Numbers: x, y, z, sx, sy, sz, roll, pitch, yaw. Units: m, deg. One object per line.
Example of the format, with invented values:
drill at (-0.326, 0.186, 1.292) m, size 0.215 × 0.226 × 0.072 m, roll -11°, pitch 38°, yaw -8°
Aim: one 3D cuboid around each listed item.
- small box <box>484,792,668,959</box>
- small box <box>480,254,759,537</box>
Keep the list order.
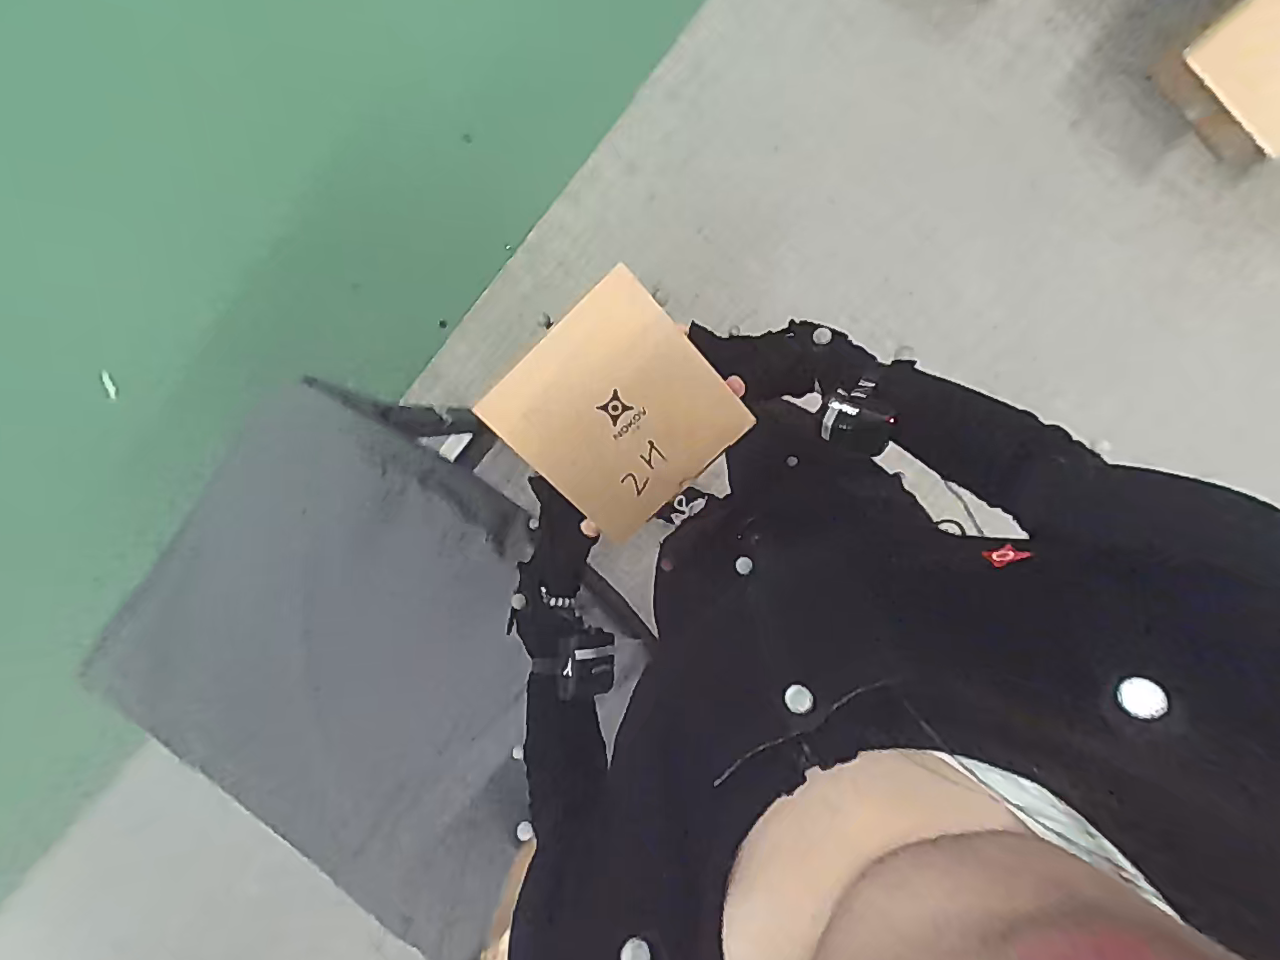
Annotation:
small box at (-0.078, 0.585, 0.747) m, size 0.168 × 0.176 × 0.179 m, roll 41°, pitch 98°, yaw -1°
small box at (-0.024, -0.082, 0.517) m, size 0.168 × 0.176 × 0.179 m, roll -41°, pitch 109°, yaw 6°
